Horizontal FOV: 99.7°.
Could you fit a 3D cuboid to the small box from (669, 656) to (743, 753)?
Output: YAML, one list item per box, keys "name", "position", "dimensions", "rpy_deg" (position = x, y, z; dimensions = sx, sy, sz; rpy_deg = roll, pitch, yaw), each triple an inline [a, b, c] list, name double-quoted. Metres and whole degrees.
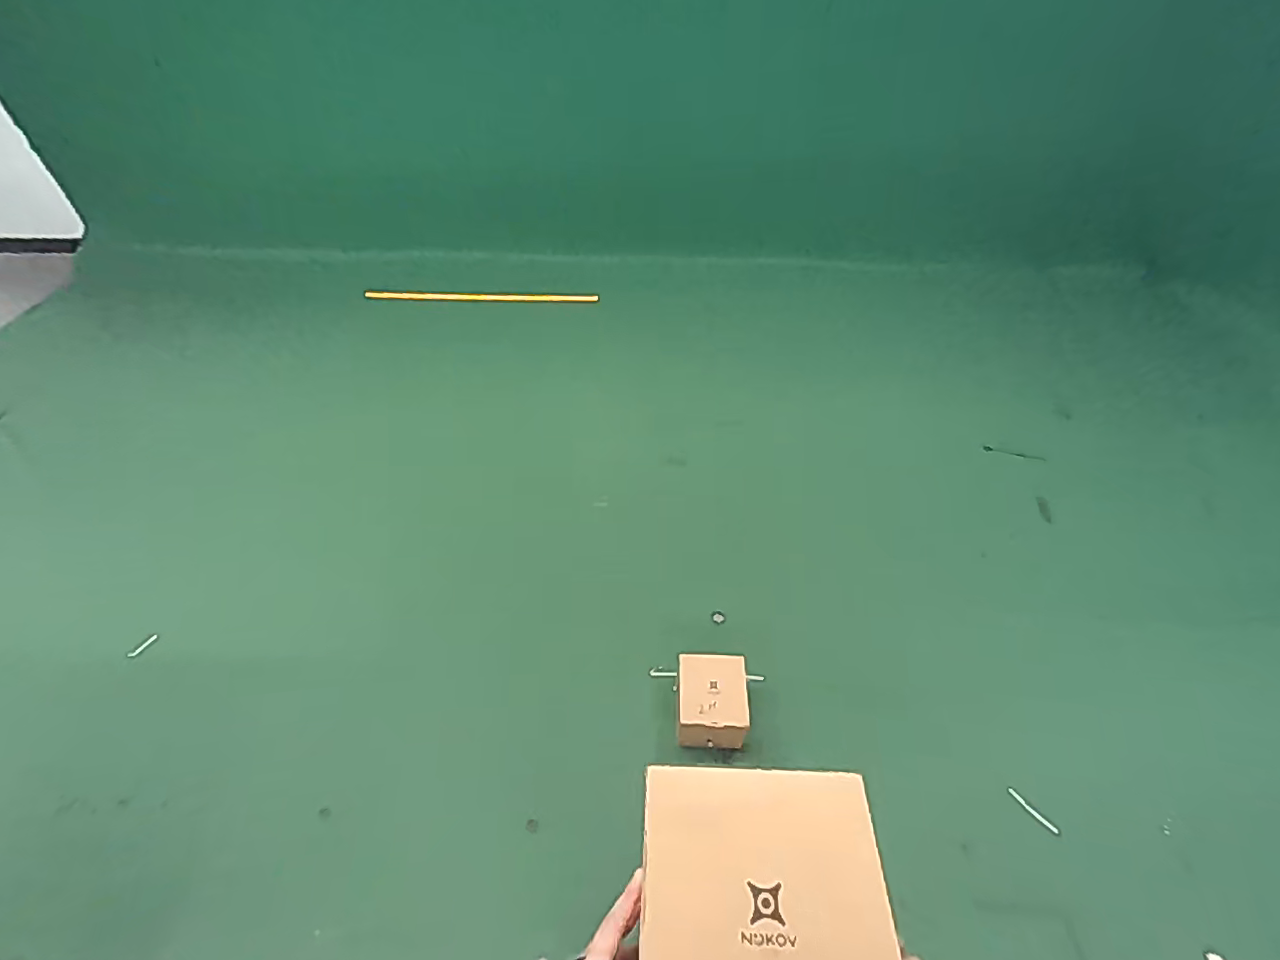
- name: "small box"
  position: [0.161, 0.569, 1.369]
  dimensions: [0.168, 0.176, 0.179]
  rpy_deg: [3, 47, 1]

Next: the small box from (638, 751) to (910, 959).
- name: "small box"
  position: [0.084, 0.329, 0.407]
  dimensions: [0.168, 0.176, 0.179]
  rpy_deg: [2, 46, 1]
